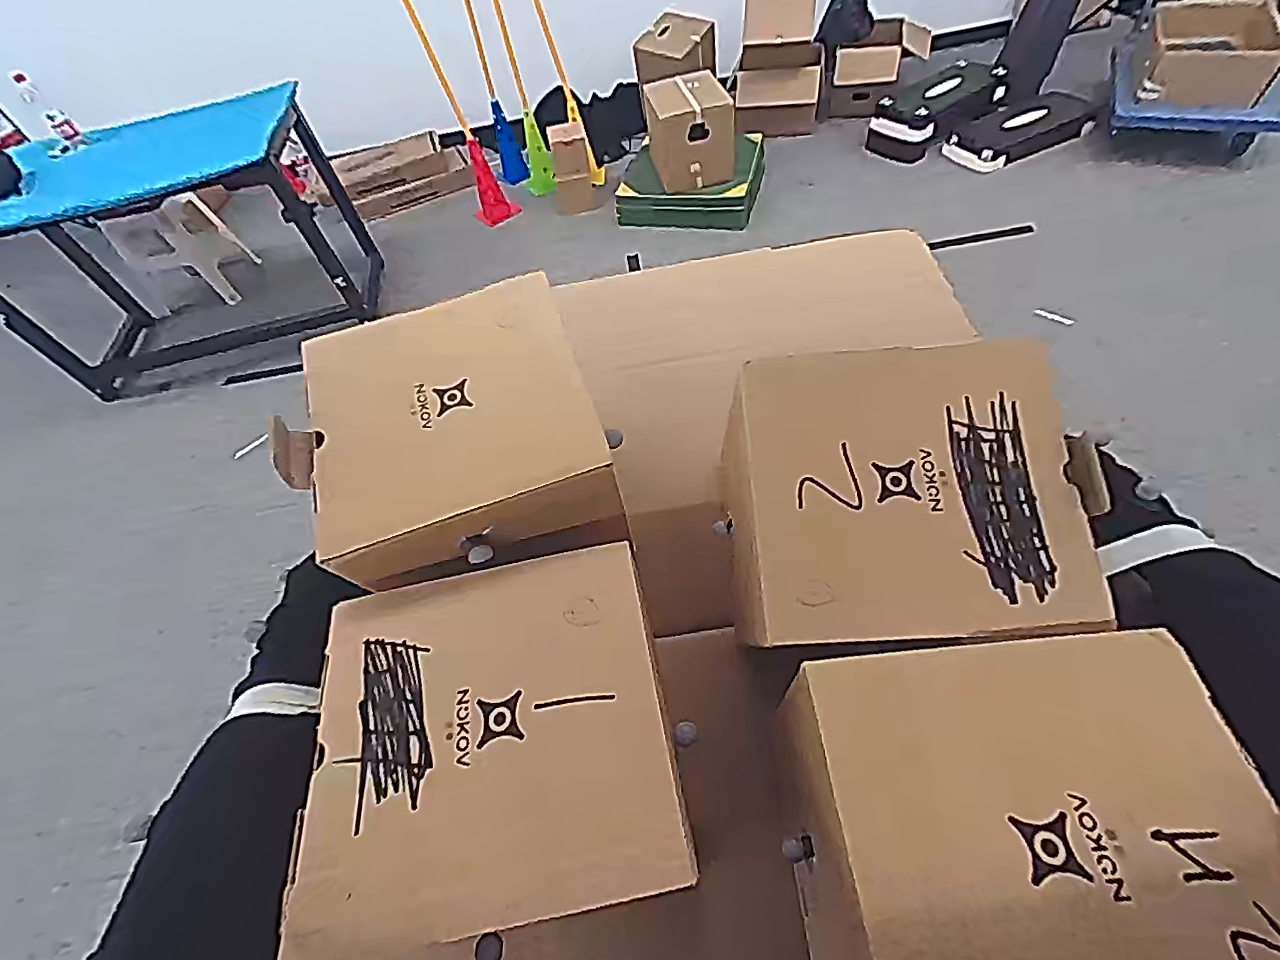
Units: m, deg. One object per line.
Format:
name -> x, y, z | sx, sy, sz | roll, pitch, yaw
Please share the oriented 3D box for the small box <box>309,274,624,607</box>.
small box -> -0.118, -0.019, 0.422 | 0.179, 0.176, 0.168 | -20, 64, -3
